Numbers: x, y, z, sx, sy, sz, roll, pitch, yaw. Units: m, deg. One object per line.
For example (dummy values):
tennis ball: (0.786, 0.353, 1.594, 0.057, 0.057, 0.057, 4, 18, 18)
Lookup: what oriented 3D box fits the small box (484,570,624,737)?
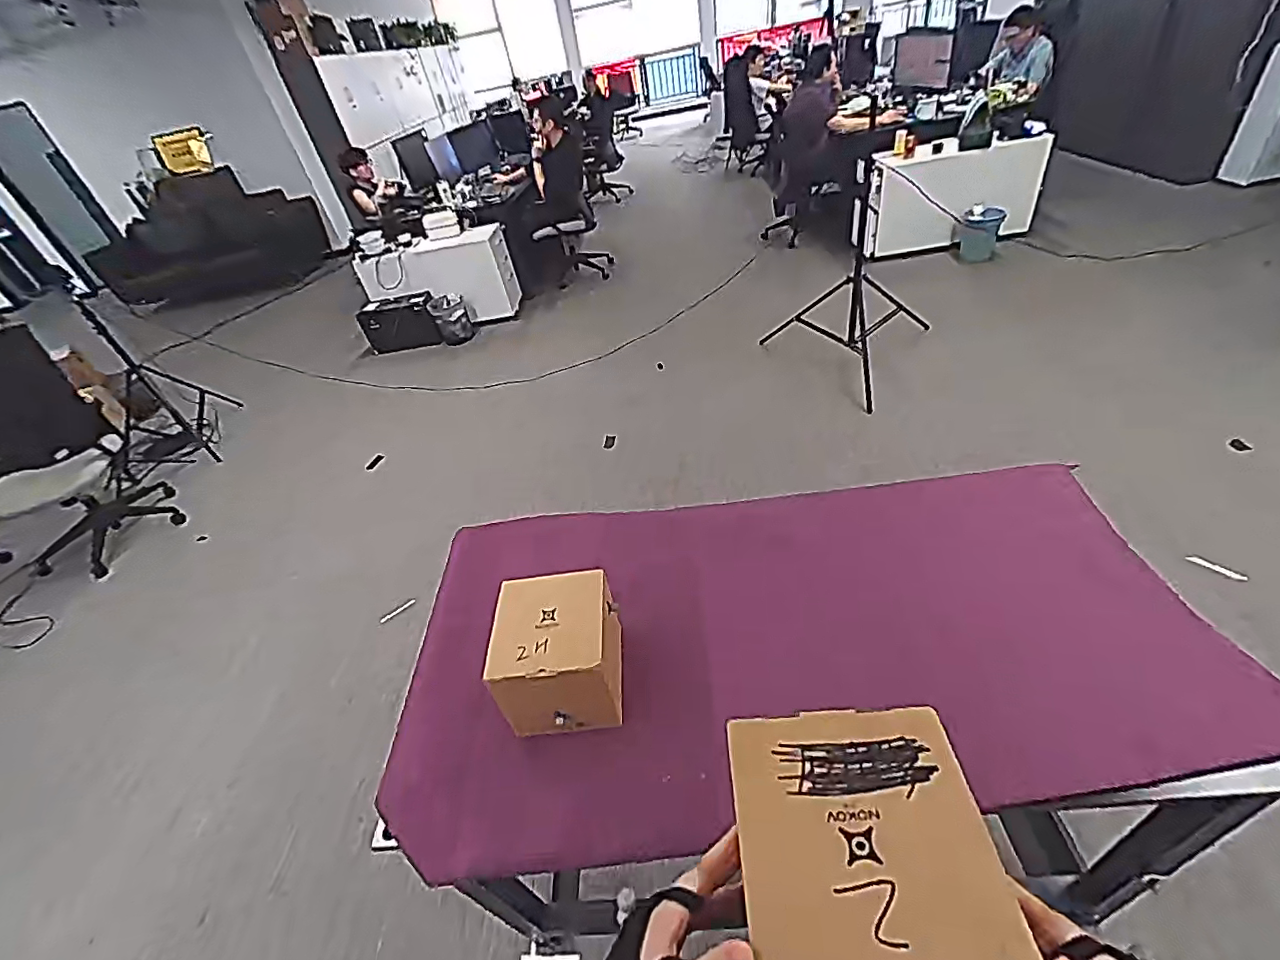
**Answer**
small box: (-0.120, 0.266, 0.833, 0.168, 0.176, 0.179, -8, 39, 4)
